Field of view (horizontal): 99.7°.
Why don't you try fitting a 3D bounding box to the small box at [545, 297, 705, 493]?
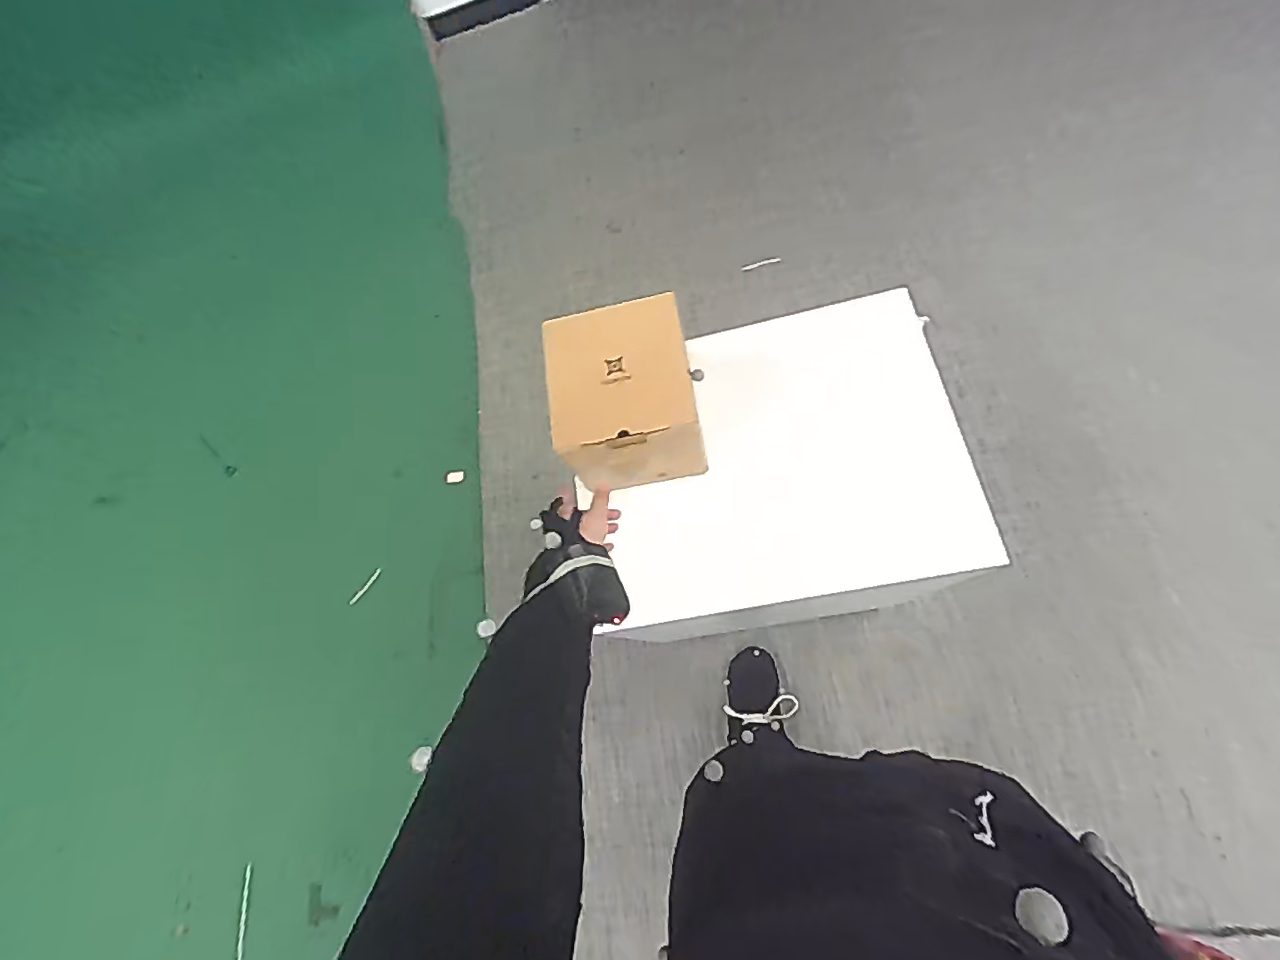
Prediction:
[{"bbox_3d":[-0.013,-0.099,0.696,0.168,0.176,0.179,-11,71,7],"label":"small box"}]
